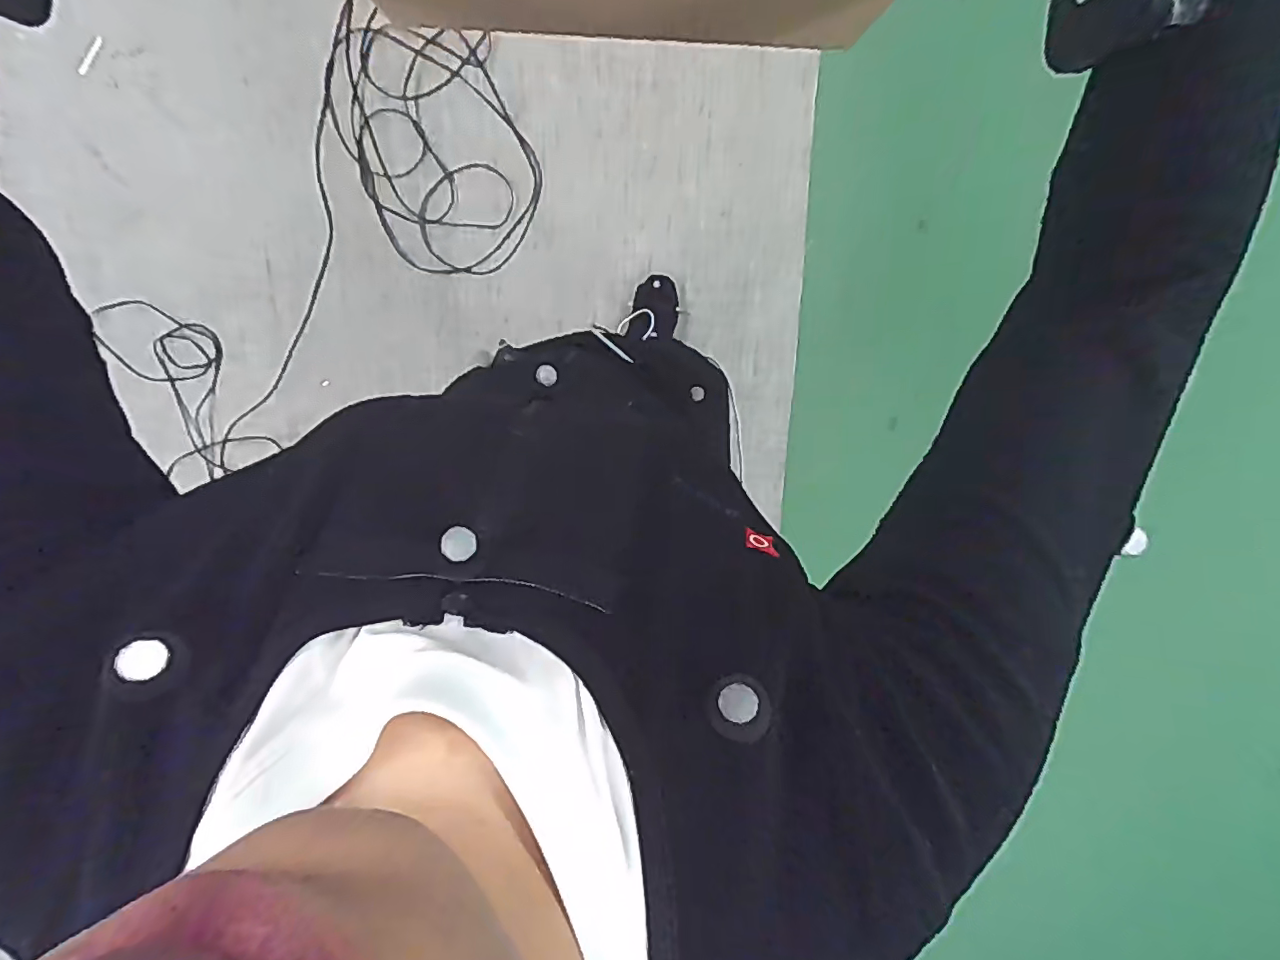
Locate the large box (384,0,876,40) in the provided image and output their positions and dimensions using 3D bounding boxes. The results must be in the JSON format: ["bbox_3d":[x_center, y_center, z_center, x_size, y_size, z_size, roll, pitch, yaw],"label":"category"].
[{"bbox_3d":[-0.007,-0.488,0.290,0.408,0.320,0.320,1,111,-2],"label":"large box"}]
